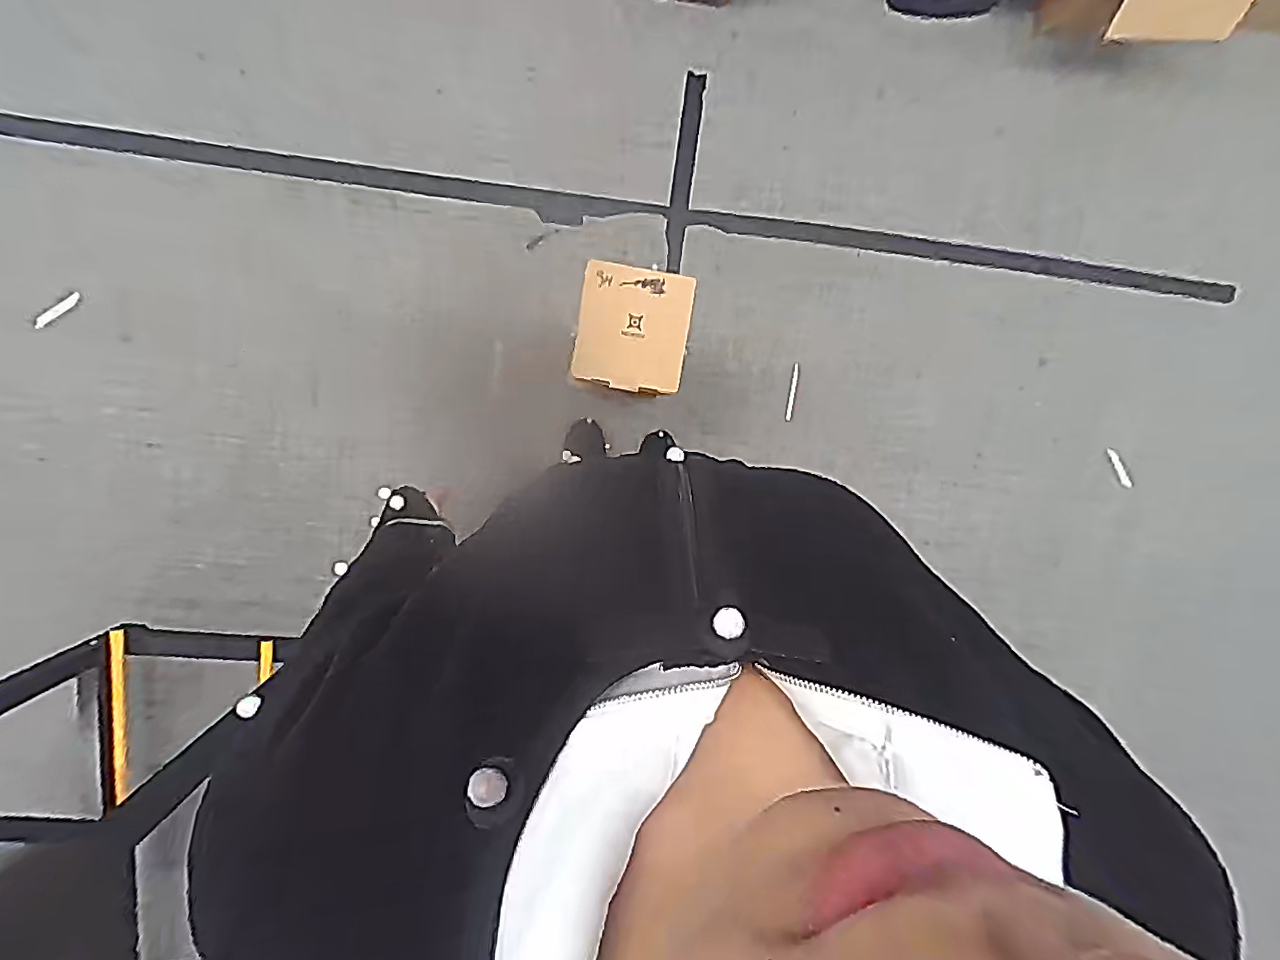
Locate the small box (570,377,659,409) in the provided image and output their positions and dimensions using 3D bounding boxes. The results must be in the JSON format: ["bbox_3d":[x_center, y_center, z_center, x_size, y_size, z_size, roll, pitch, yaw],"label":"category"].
[{"bbox_3d":[-0.033,-0.241,1.041,0.168,0.176,0.179,12,99,-5],"label":"small box"}]

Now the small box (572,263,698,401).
[{"bbox_3d":[-0.011,-0.230,0.878,0.168,0.176,0.179,9,99,-4],"label":"small box"}]
